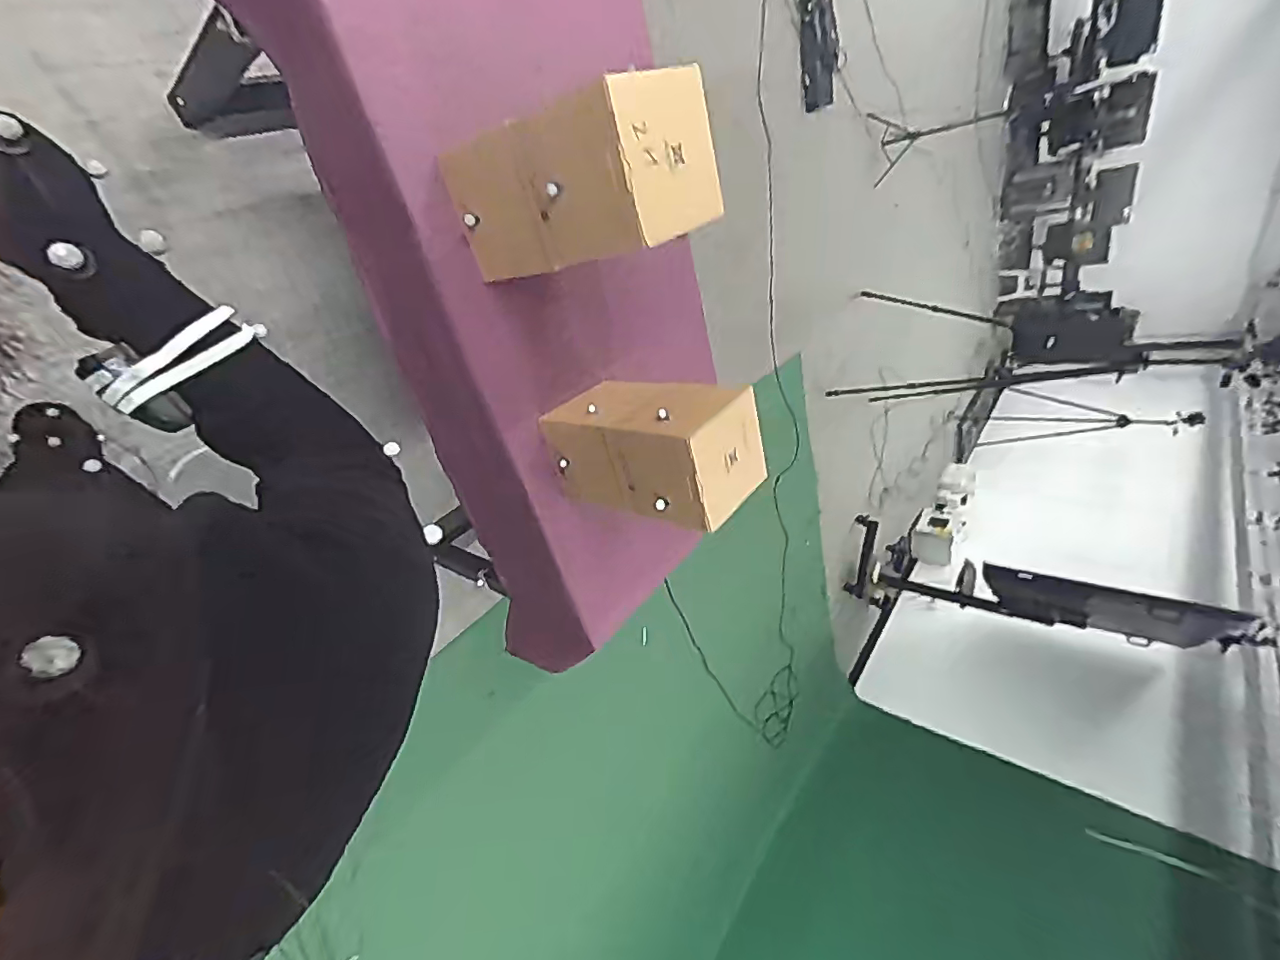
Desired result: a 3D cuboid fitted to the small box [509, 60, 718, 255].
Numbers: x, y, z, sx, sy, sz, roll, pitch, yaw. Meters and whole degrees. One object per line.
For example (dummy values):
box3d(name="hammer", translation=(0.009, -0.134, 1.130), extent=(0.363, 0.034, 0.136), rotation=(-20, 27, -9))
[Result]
box3d(name="small box", translation=(-0.029, -0.395, 0.676), extent=(0.179, 0.176, 0.168), rotation=(-40, 126, -36))

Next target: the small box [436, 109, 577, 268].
box3d(name="small box", translation=(-0.156, -0.417, 0.779), extent=(0.168, 0.176, 0.179), rotation=(-42, 129, -35))

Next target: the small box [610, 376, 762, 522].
box3d(name="small box", translation=(0.070, -0.058, 0.870), extent=(0.179, 0.176, 0.168), rotation=(-40, 127, -36))
